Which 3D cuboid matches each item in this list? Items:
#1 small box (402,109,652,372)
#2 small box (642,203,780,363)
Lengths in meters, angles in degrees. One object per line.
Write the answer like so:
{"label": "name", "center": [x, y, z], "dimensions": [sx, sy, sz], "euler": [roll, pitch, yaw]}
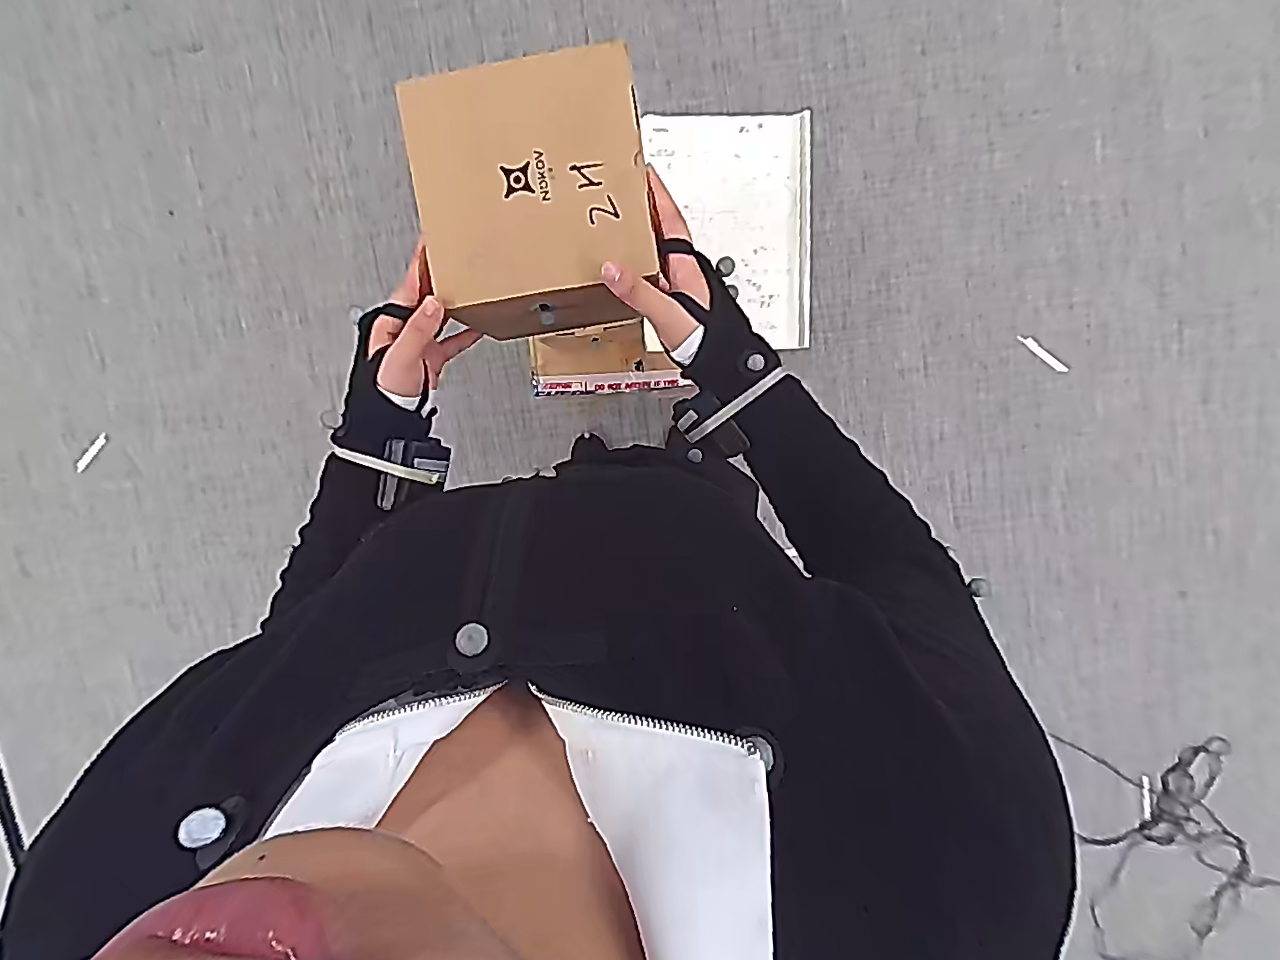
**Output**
{"label": "small box", "center": [-0.085, -0.197, 0.497], "dimensions": [0.179, 0.176, 0.168], "euler": [-8, 97, 2]}
{"label": "small box", "center": [0.086, -0.259, 0.744], "dimensions": [0.168, 0.176, 0.179], "euler": [-2, 98, -2]}
